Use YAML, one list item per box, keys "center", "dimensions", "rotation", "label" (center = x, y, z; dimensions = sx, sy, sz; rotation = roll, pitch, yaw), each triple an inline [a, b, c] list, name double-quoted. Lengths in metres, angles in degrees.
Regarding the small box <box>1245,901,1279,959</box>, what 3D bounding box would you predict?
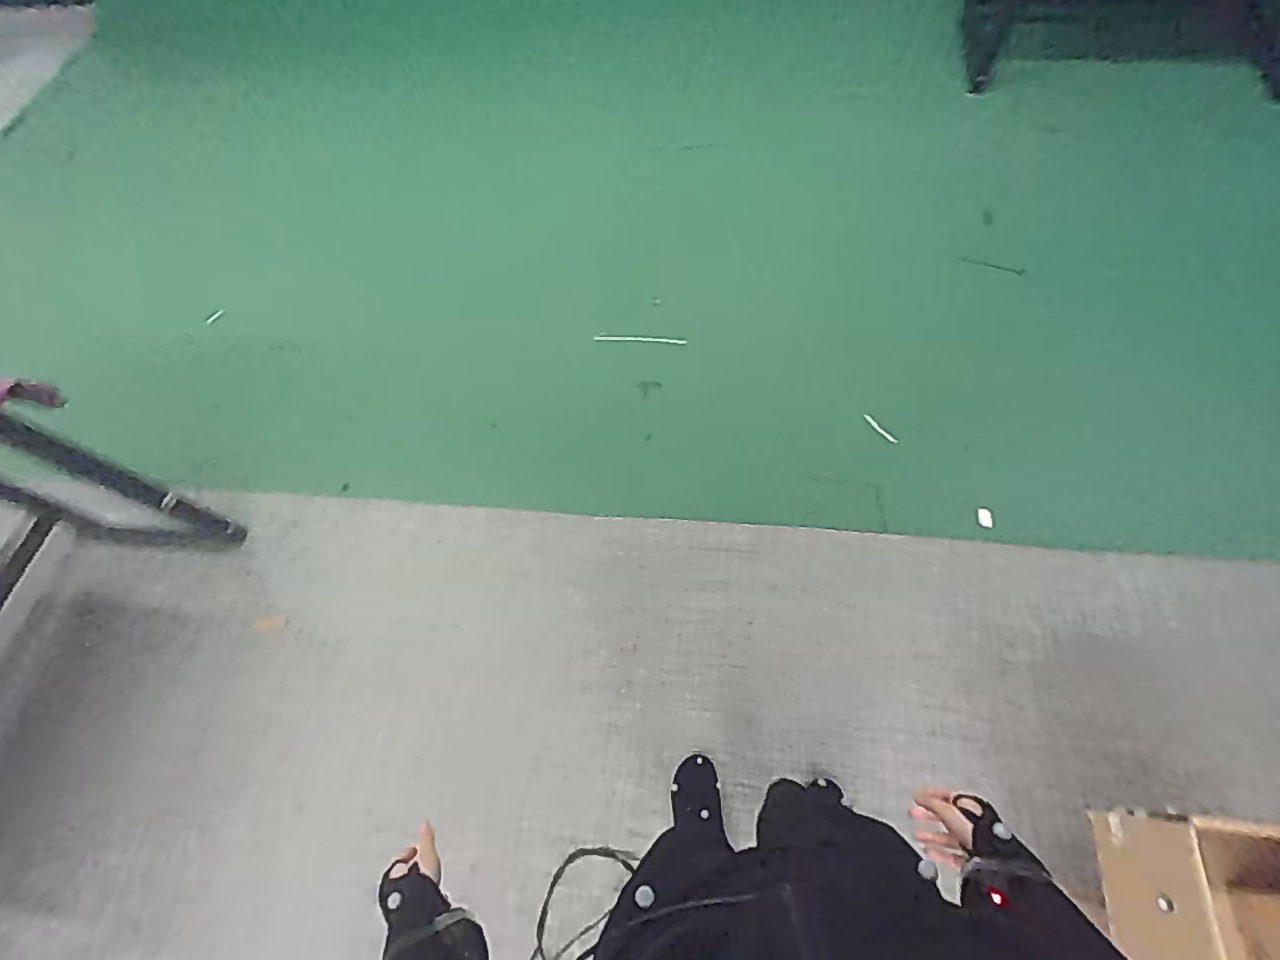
- center: [0.936, 0.643, 0.661]
  dimensions: [0.179, 0.176, 0.168]
  rotation: [1, 64, 7]
  label: "small box"
